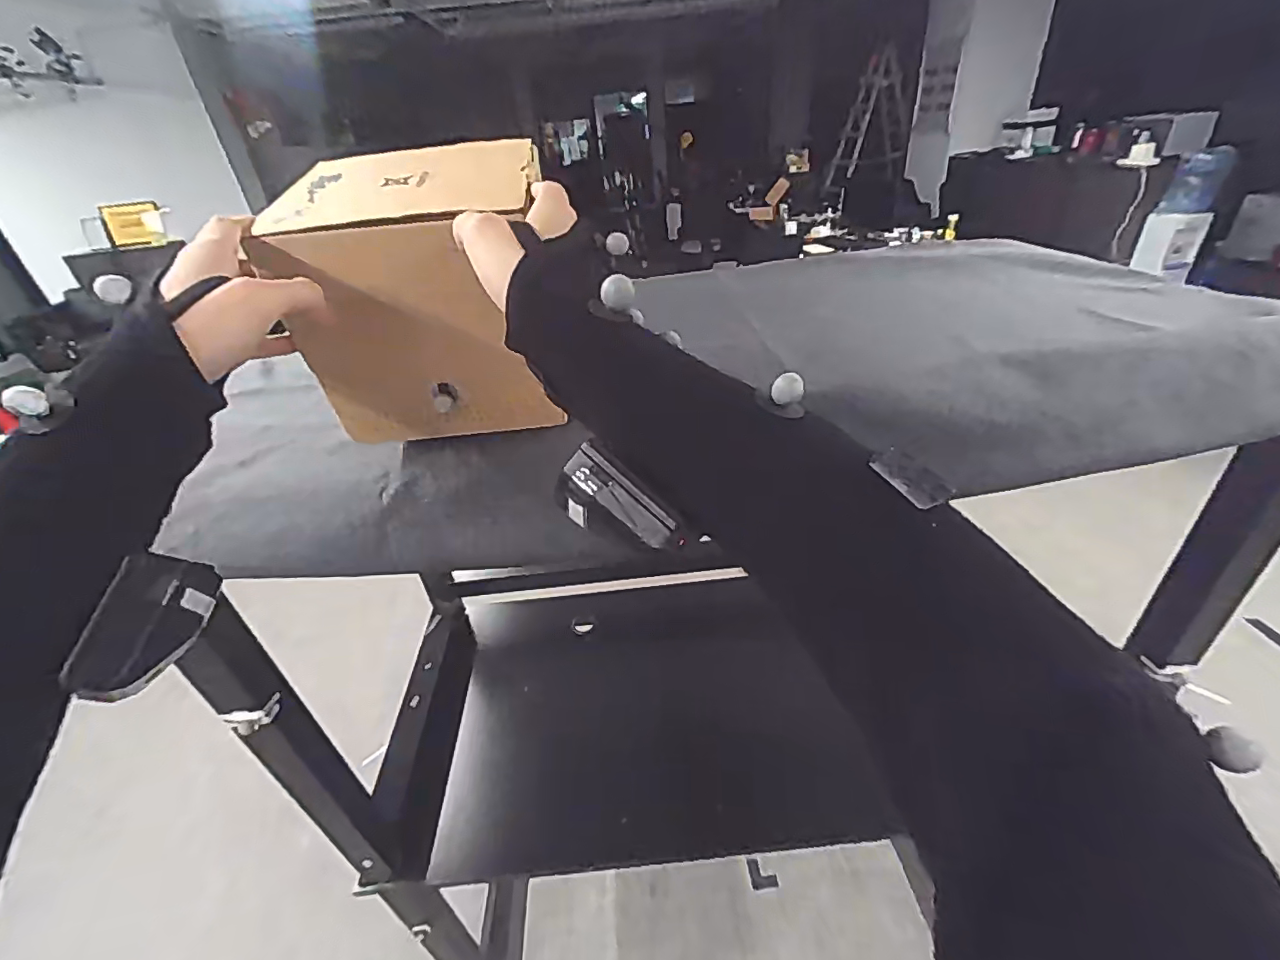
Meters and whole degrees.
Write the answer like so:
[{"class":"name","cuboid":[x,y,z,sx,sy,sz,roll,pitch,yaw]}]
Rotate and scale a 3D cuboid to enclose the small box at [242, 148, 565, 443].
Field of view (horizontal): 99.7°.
[{"class":"small box","cuboid":[-0.156,-0.147,0.437,0.179,0.176,0.168,-6,44,-2]}]
